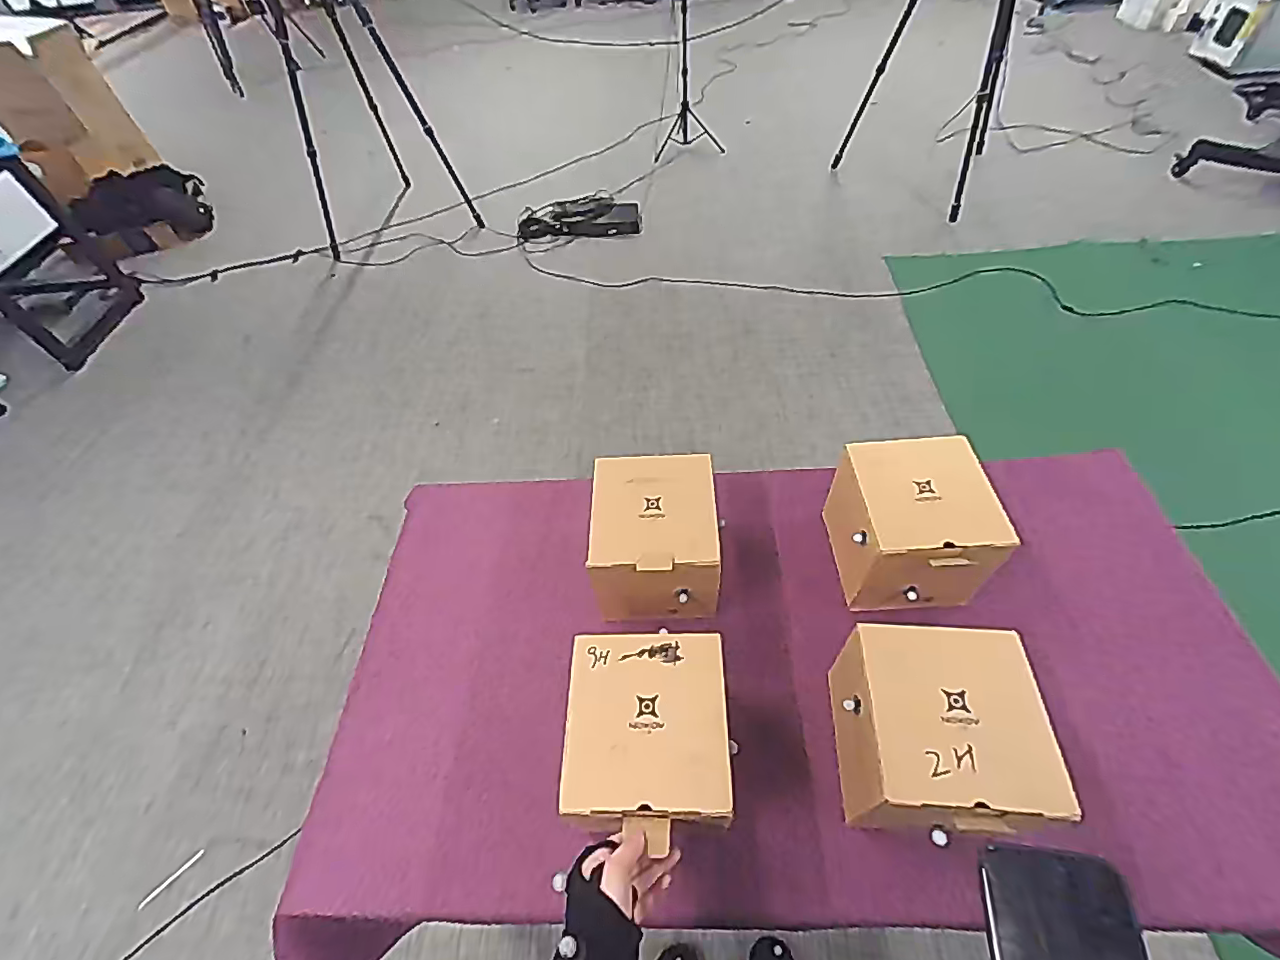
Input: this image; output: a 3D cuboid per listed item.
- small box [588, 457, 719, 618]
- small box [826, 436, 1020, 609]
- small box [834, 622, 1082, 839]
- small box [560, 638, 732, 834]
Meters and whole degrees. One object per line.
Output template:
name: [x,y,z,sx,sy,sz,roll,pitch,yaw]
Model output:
small box: [0.024,0.089,0.773,0.168,0.176,0.179,-2,52,3]
small box: [0.372,0.062,0.756,0.168,0.176,0.179,-5,53,3]
small box: [0.319,0.275,0.593,0.168,0.176,0.179,1,52,7]
small box: [0.015,0.293,0.613,0.168,0.176,0.179,-2,53,4]
